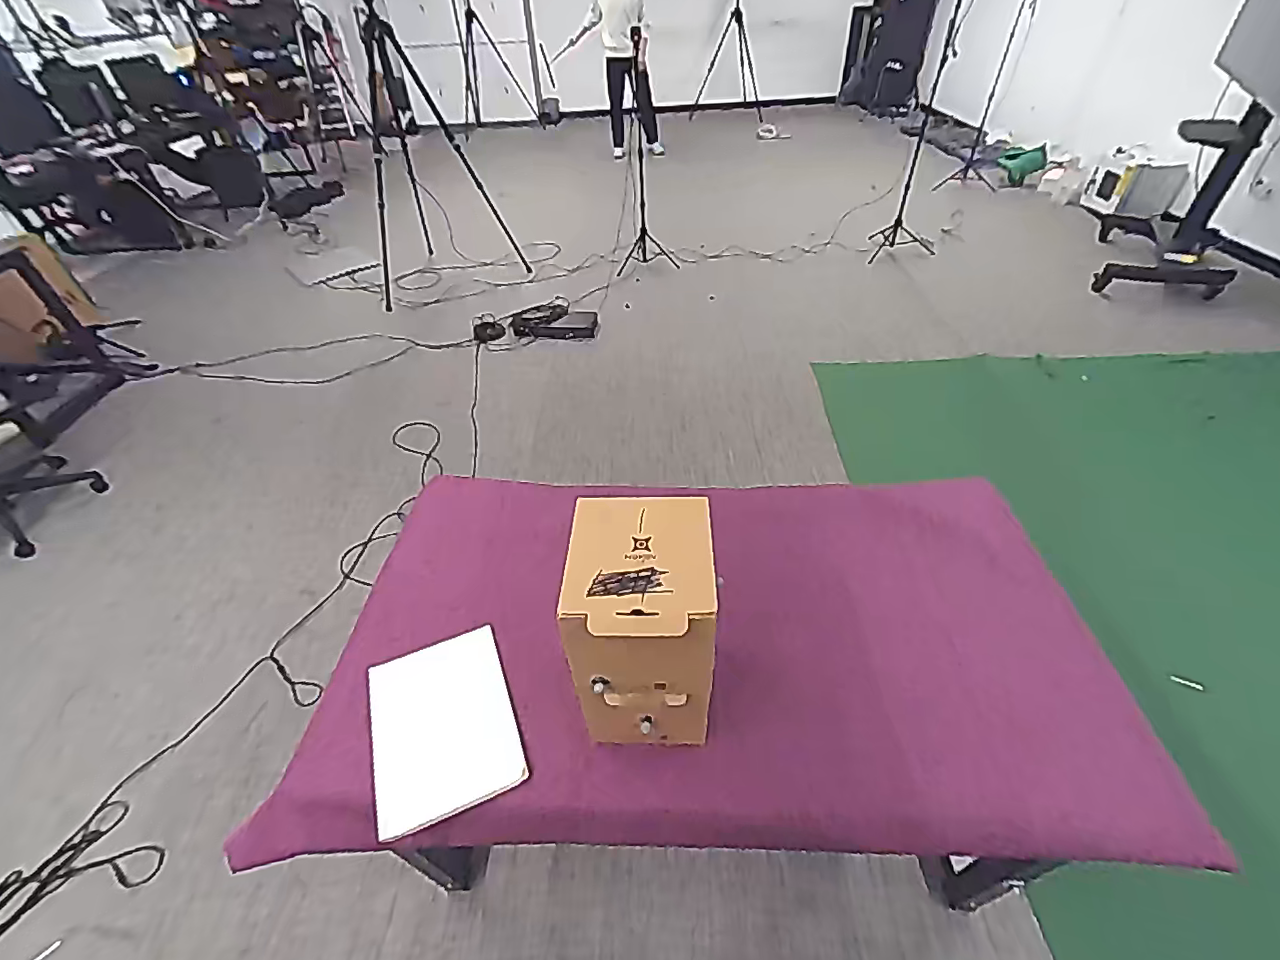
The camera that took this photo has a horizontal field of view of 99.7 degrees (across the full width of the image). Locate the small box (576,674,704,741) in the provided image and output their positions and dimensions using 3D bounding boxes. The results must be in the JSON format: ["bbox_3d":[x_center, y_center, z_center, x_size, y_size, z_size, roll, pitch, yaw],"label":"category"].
[{"bbox_3d":[0.008,0.261,0.785,0.168,0.176,0.179,0,43,3],"label":"small box"}]

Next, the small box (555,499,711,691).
[{"bbox_3d":[0.001,0.143,0.669,0.168,0.176,0.179,0,41,3],"label":"small box"}]
